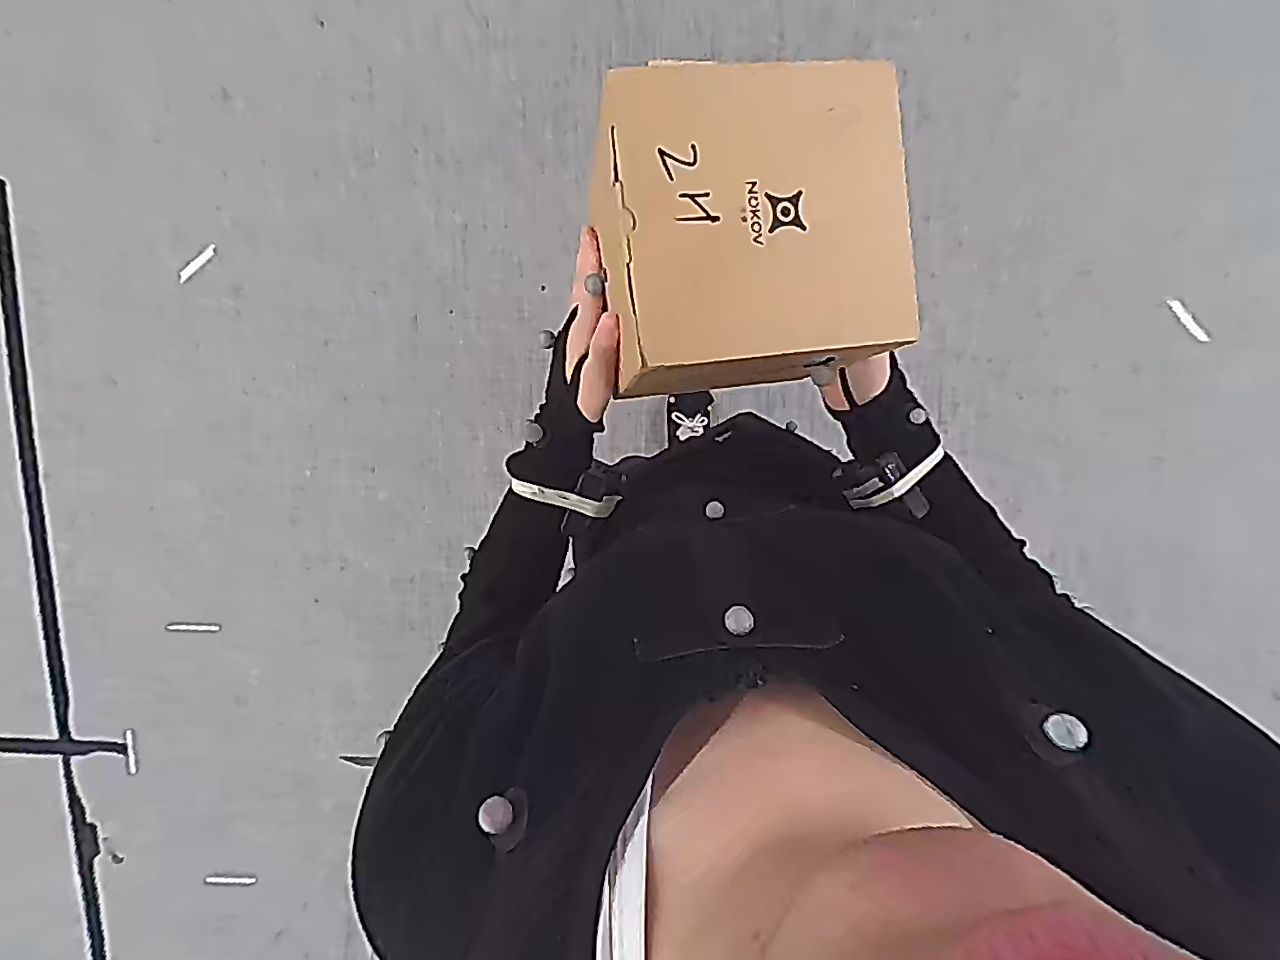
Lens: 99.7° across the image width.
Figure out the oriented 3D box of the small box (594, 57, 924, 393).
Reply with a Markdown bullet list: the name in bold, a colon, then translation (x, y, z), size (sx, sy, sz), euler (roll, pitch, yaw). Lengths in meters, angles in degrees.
- **small box**: translation (0.067, -0.160, 0.390), size (0.179, 0.176, 0.168), euler (-8, 93, -8)
